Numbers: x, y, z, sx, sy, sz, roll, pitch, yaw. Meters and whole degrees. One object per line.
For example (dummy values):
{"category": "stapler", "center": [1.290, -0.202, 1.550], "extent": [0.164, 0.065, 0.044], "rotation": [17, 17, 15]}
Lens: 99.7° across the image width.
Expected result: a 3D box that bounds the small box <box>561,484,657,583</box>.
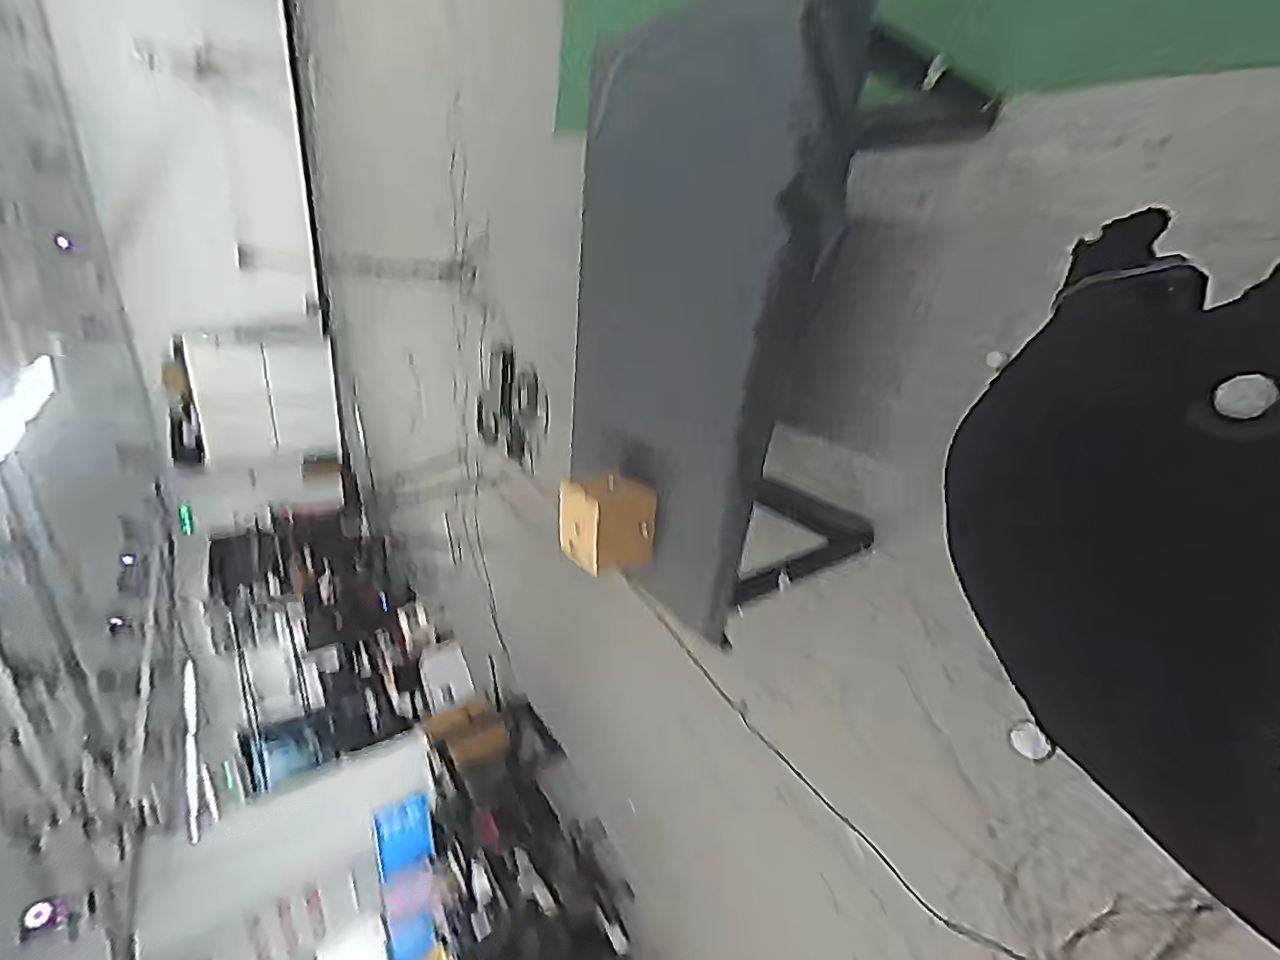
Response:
{"category": "small box", "center": [-0.074, 0.120, 1.311], "extent": [0.168, 0.176, 0.179], "rotation": [25, 118, 48]}
